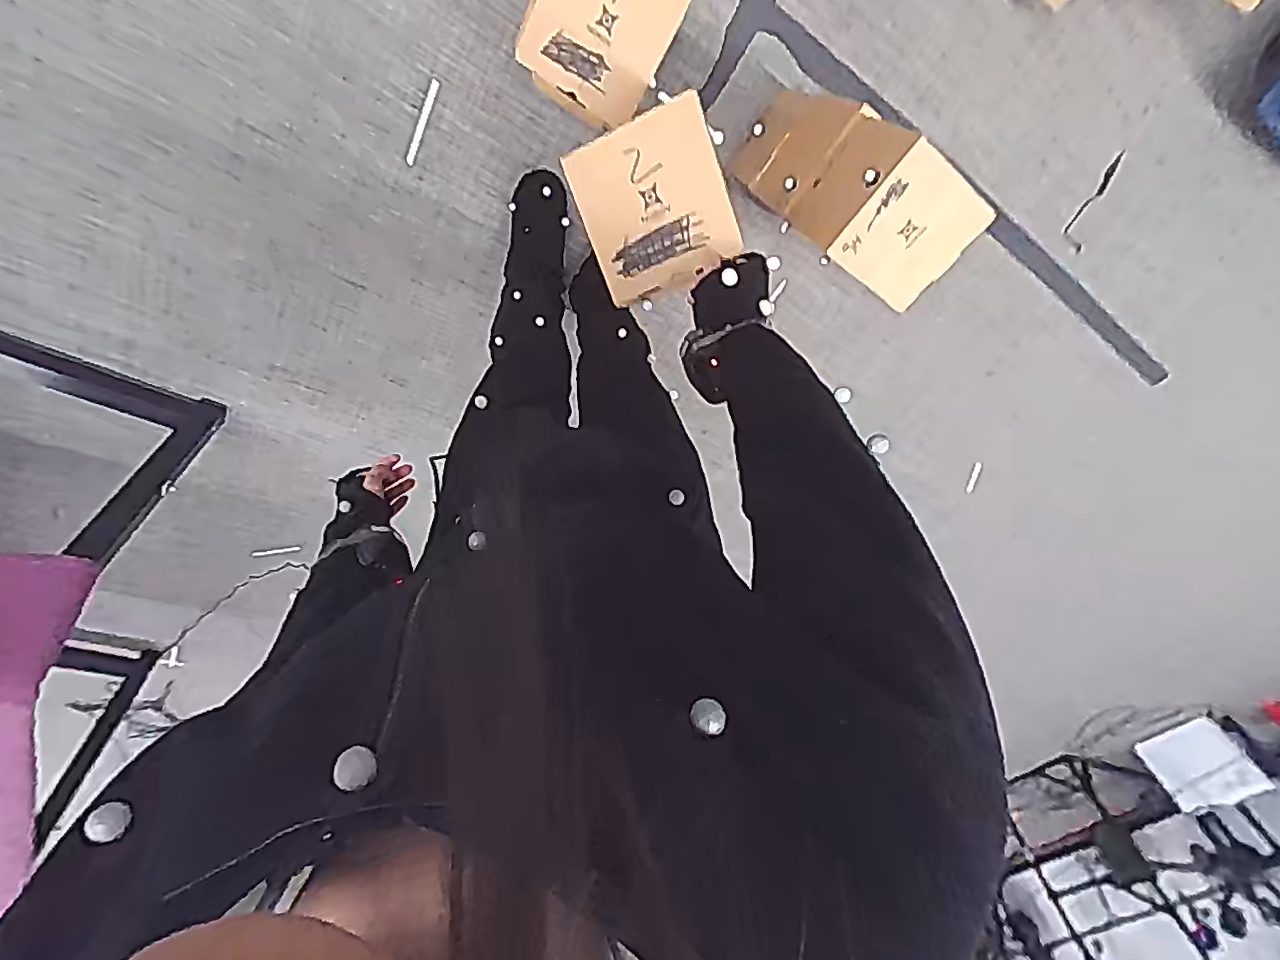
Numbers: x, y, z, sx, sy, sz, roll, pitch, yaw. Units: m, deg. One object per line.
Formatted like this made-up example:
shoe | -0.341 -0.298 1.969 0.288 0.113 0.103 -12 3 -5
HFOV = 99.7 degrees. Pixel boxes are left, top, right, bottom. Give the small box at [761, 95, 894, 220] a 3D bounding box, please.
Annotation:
small box | 0.330 -0.502 0.903 0.168 0.176 0.179 21 125 -26

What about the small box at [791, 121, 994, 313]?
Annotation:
small box | 0.356 -0.386 0.790 0.179 0.176 0.168 23 124 -28

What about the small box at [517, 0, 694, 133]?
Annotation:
small box | -0.052 -0.619 0.737 0.168 0.176 0.179 22 122 -26

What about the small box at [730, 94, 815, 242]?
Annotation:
small box | 0.302 -0.599 1.031 0.179 0.176 0.168 26 122 -29
